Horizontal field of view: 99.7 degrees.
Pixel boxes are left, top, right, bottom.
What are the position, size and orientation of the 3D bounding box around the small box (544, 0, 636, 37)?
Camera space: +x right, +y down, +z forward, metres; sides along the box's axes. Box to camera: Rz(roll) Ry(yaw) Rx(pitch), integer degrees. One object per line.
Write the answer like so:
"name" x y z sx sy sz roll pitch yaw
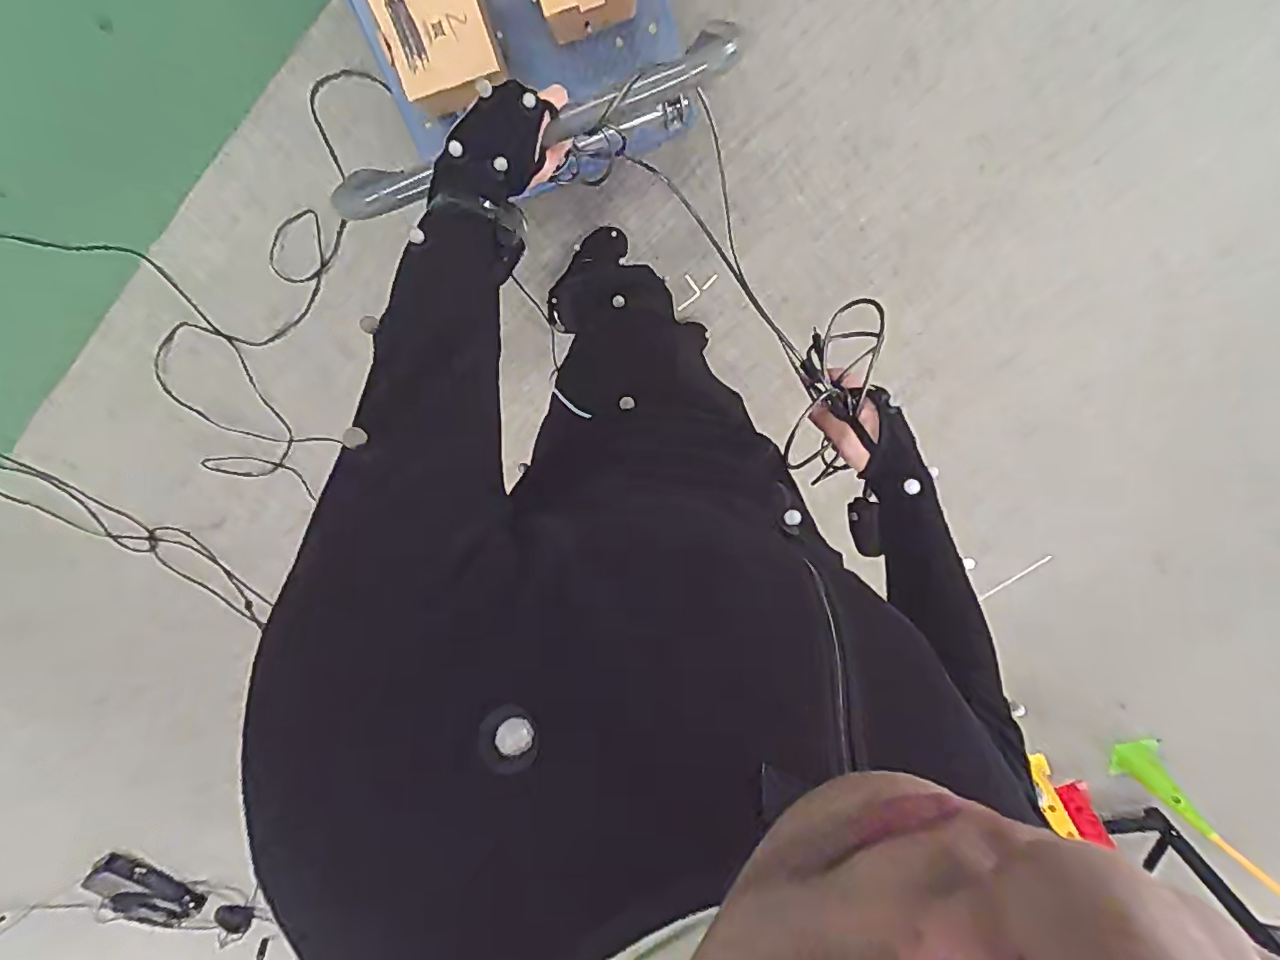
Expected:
"small box" -0.106 -0.920 0.940 0.168 0.176 0.179 -16 117 6
